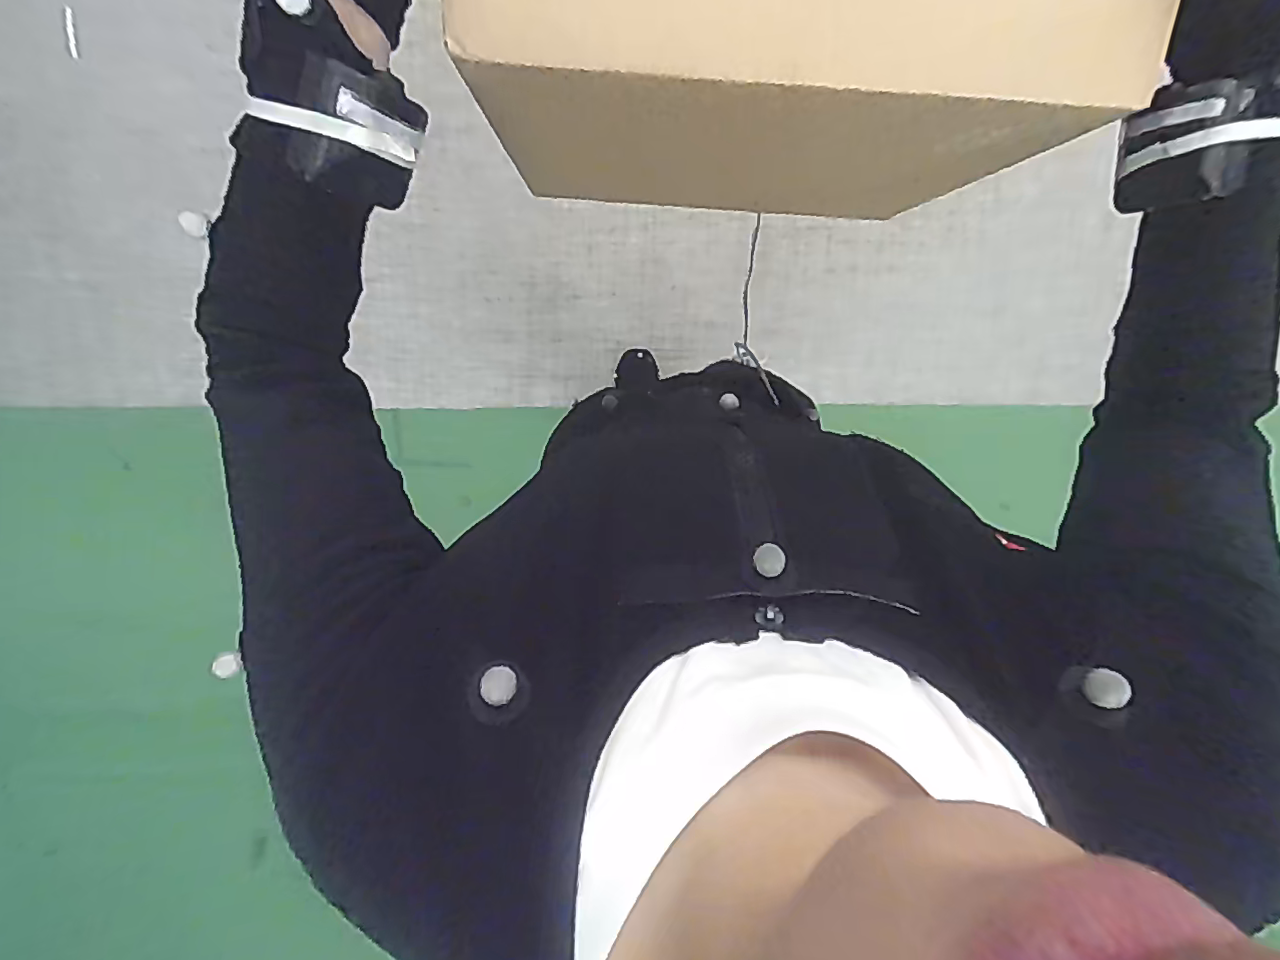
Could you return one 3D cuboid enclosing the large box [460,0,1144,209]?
[{"bbox_3d":[0.091,-0.419,0.424,0.408,0.320,0.320,1,105,-3],"label":"large box"}]
